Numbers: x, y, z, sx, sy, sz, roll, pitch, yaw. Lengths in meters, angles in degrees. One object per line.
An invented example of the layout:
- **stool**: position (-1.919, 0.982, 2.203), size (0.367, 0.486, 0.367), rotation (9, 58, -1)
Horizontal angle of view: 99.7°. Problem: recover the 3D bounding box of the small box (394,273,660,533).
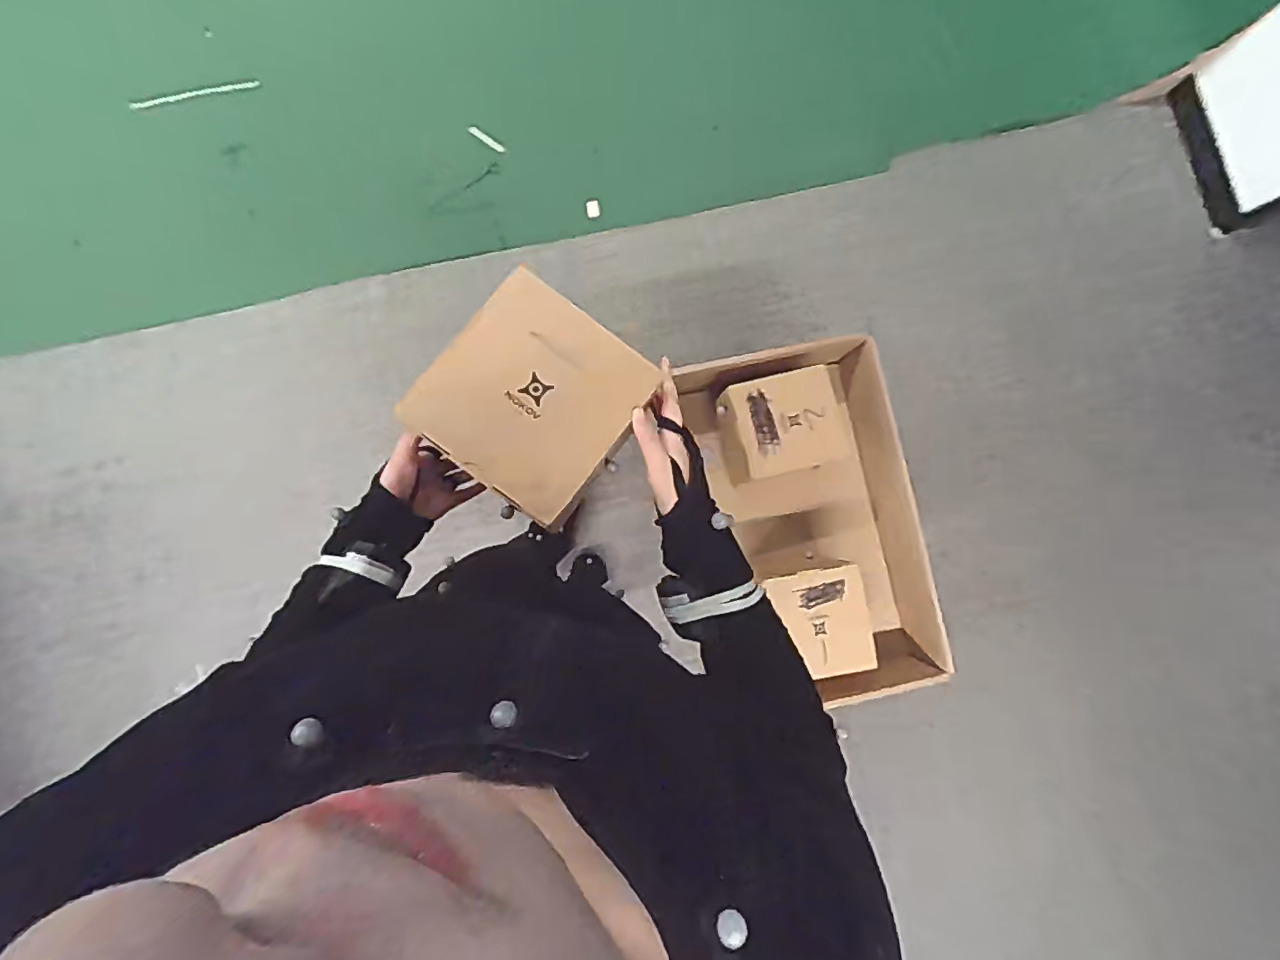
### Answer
- **small box**: position (-0.102, -0.059, 0.547), size (0.168, 0.176, 0.179), rotation (36, 80, -1)
